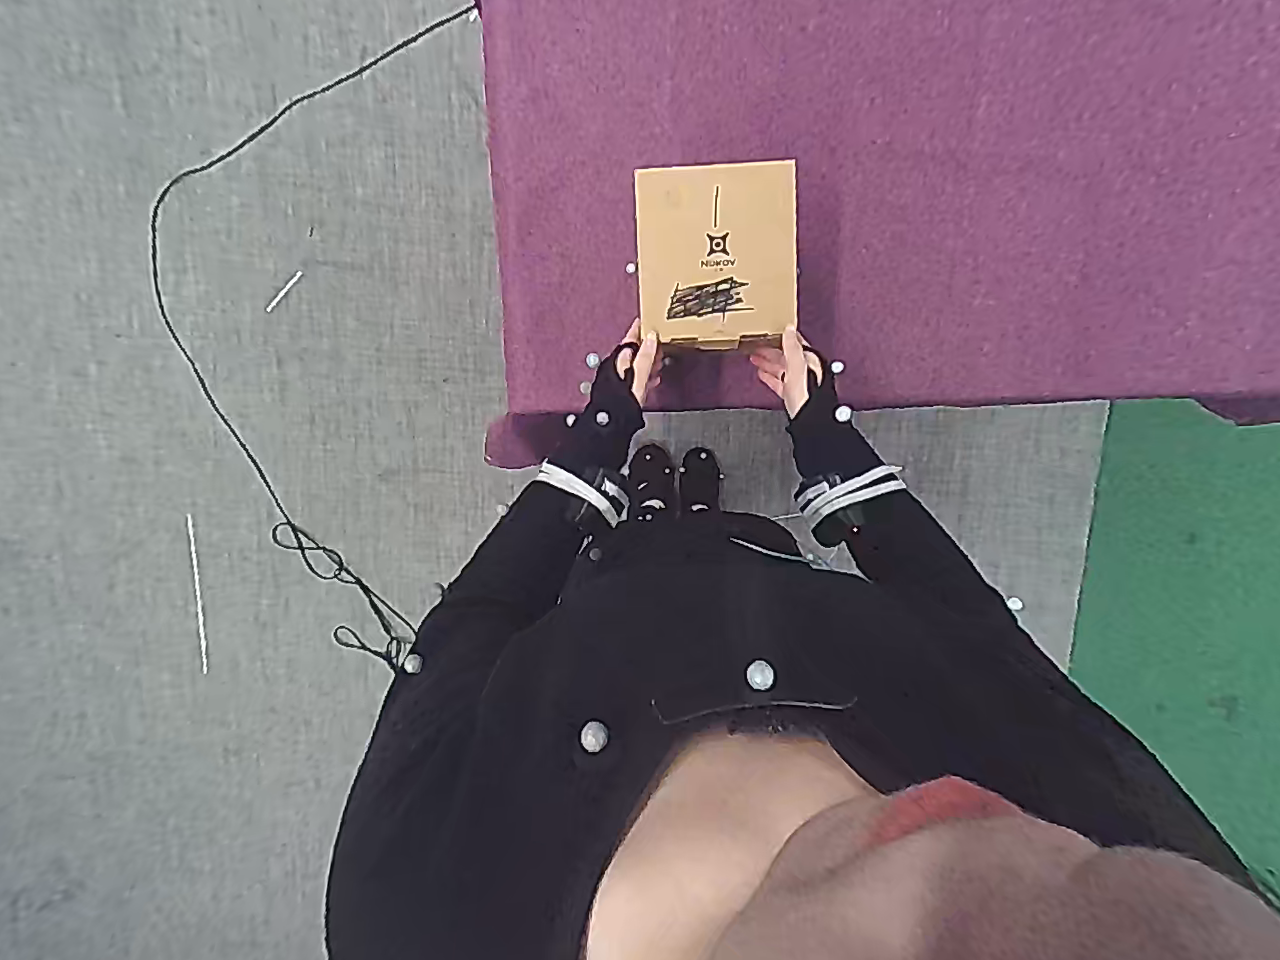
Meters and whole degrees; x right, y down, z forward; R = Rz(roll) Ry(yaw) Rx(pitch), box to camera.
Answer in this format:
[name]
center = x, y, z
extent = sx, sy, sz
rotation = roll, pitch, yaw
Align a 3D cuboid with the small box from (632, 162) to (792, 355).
[small box]
center = 0.078, -0.244, 0.640
extent = 0.168, 0.176, 0.179
rotation = -2, 96, 2
